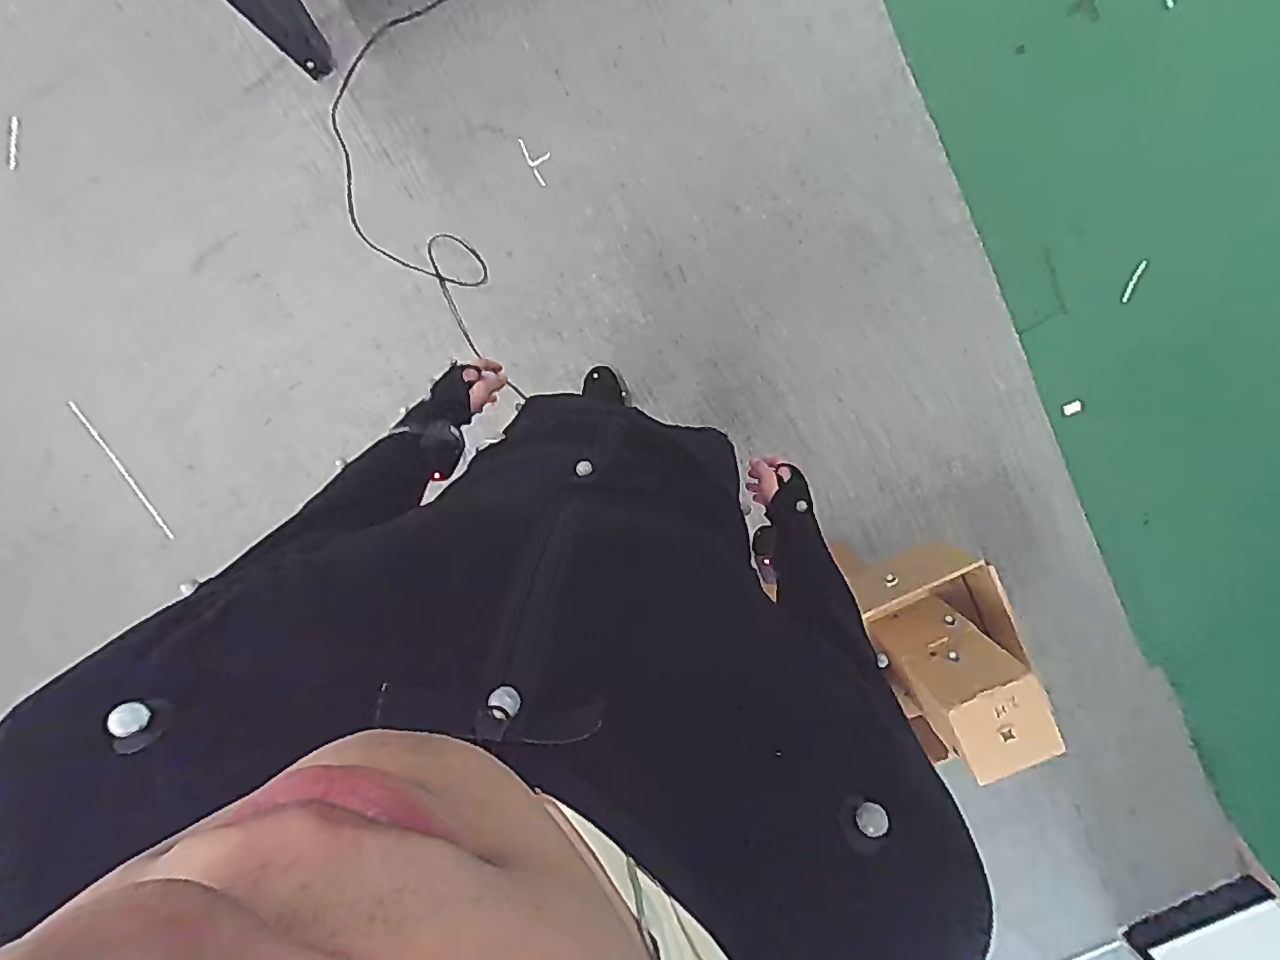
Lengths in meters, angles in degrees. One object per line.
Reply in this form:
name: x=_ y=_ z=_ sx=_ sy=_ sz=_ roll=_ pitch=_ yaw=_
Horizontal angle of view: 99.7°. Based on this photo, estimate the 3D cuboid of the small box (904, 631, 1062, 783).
small box: x=0.646 y=0.425 z=1.036 sx=0.168 sy=0.176 sz=0.179 roll=-27 pitch=100 yaw=5
